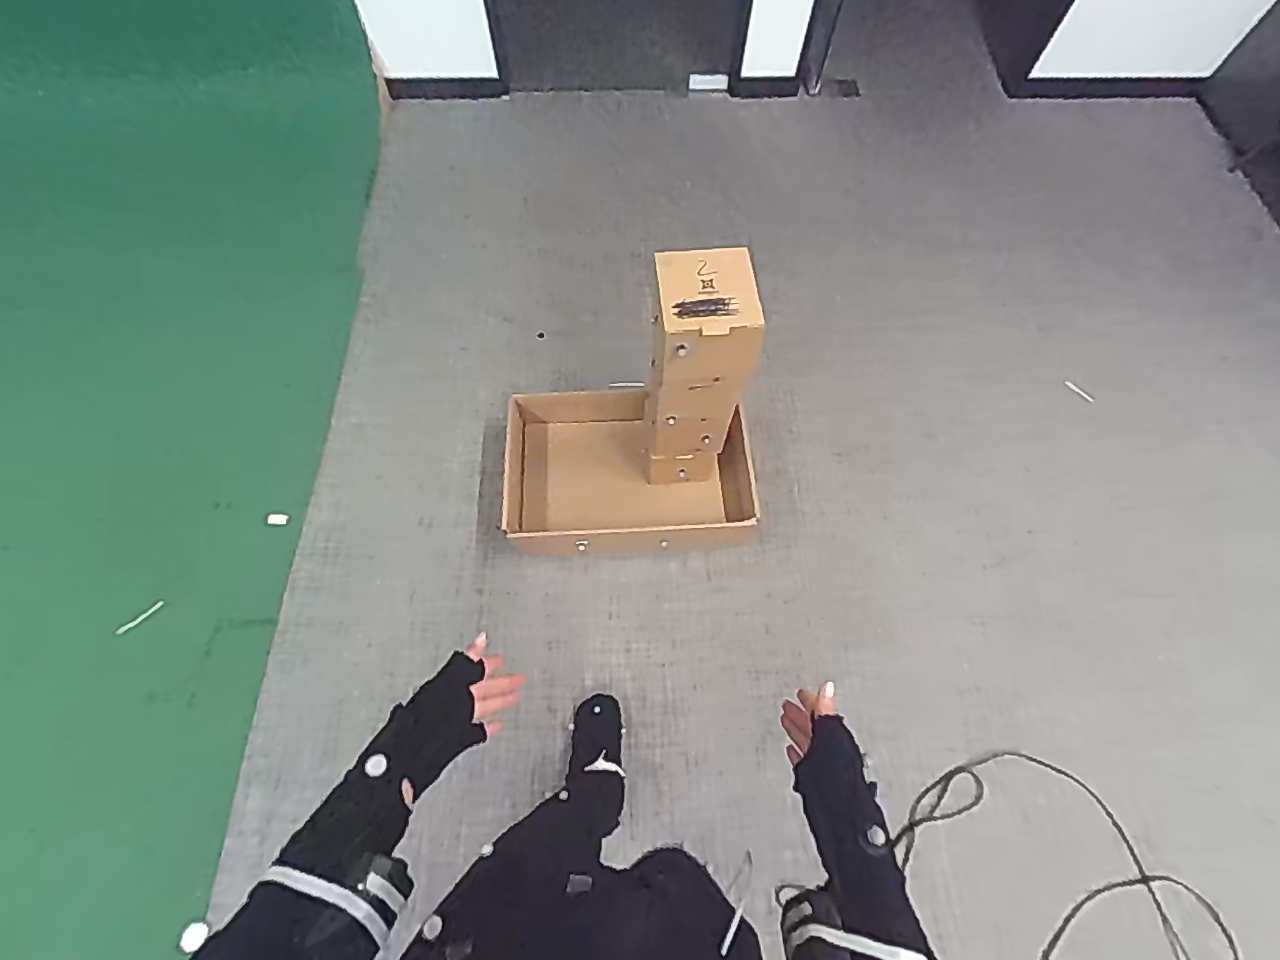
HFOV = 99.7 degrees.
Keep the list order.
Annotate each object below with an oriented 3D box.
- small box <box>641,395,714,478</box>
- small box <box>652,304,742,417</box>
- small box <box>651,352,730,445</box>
[{"bbox_3d":[0.096,-0.115,1.434,0.168,0.176,0.179,-7,66,-2],"label":"small box"},{"bbox_3d":[0.111,-0.242,1.130,0.168,0.176,0.179,-2,67,-2],"label":"small box"},{"bbox_3d":[0.111,-0.190,1.268,0.168,0.176,0.179,-3,67,-2],"label":"small box"}]
